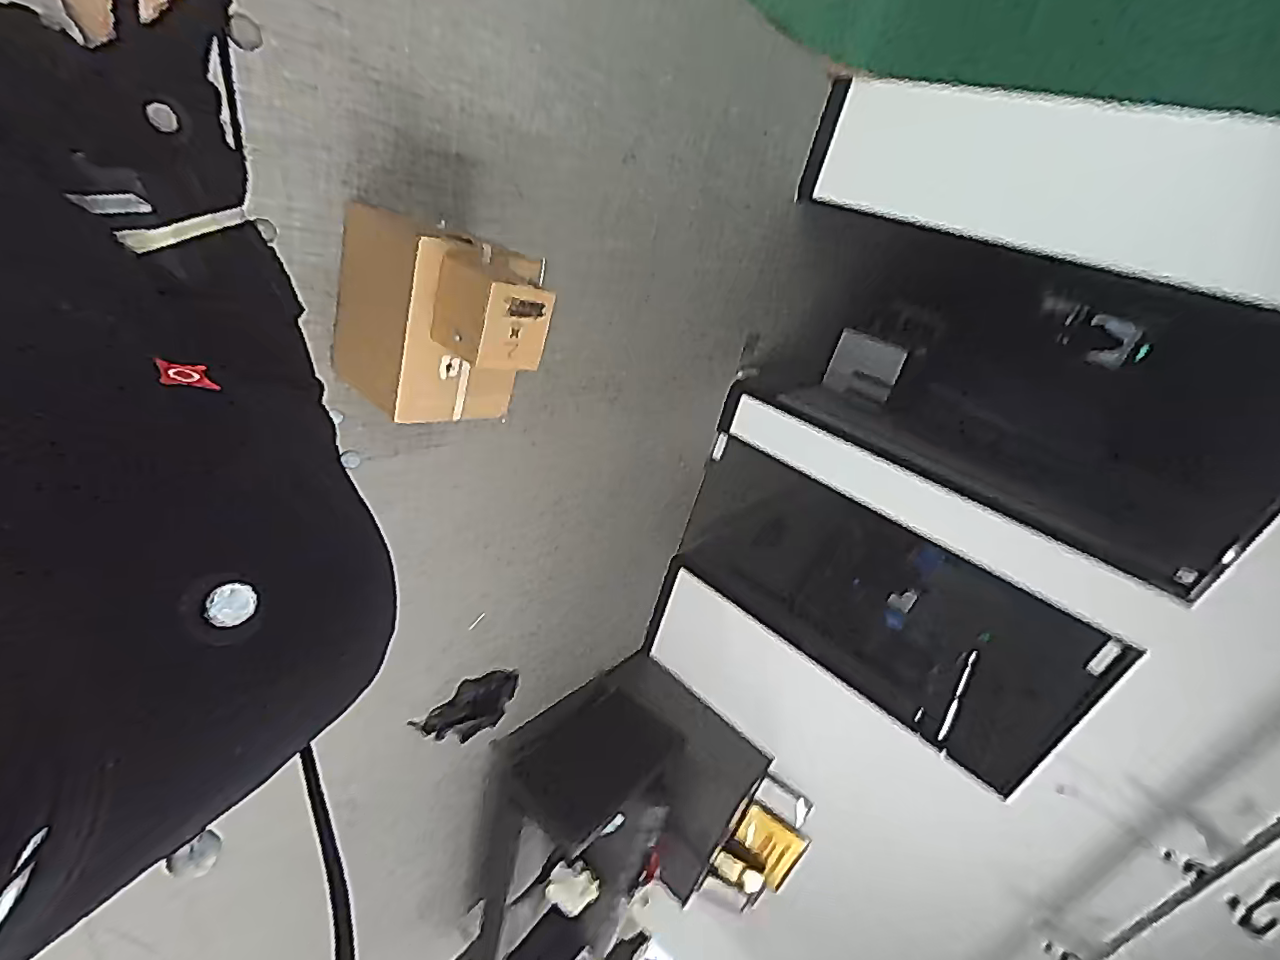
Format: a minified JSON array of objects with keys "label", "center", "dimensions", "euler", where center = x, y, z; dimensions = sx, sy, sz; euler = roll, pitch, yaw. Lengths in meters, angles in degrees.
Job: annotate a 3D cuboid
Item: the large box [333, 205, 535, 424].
[{"label":"large box","center":[-0.508,-0.390,1.312],"dimensions":[0.320,0.320,0.408],"euler":[-12,129,-51]}]
